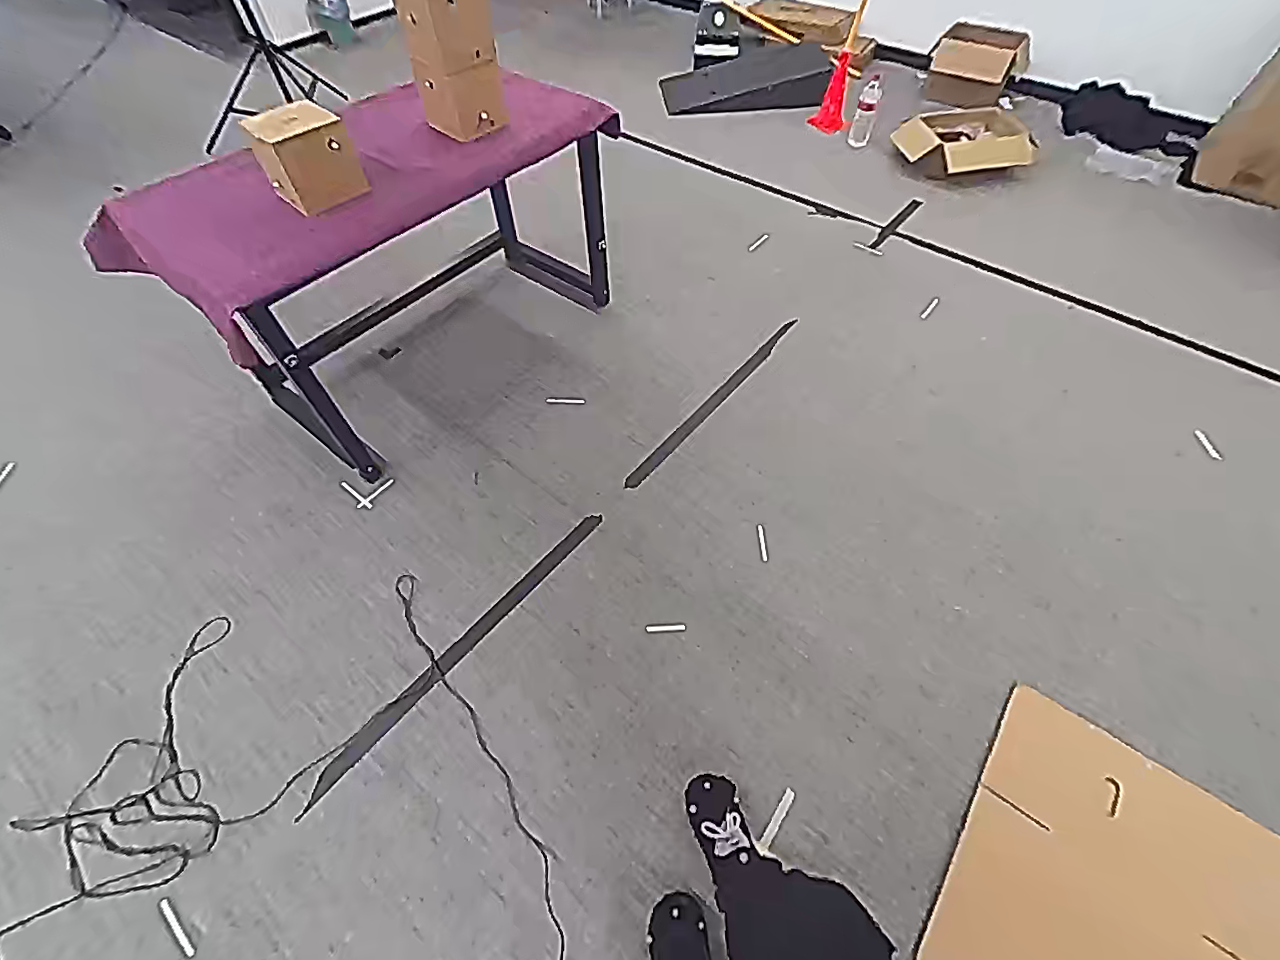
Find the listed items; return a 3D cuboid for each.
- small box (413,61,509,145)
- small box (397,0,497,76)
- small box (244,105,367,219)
[{"bbox_3d":[-0.498,-1.081,1.526,0.179,0.176,0.168,37,64,22],"label":"small box"},{"bbox_3d":[-0.496,-1.171,1.389,0.179,0.176,0.168,38,65,25],"label":"small box"},{"bbox_3d":[-0.800,-0.774,1.320,0.168,0.176,0.179,37,64,24],"label":"small box"}]
